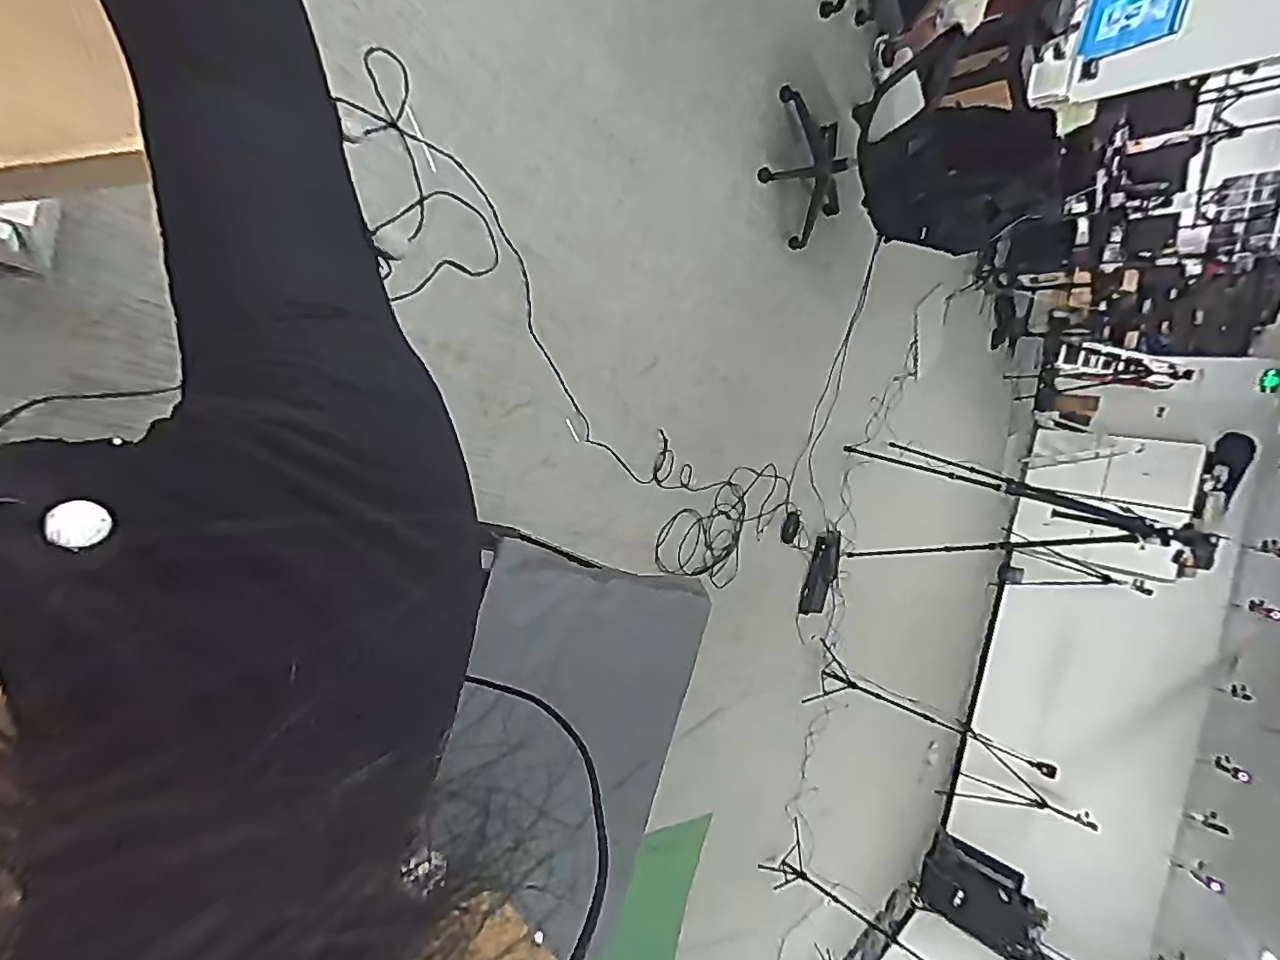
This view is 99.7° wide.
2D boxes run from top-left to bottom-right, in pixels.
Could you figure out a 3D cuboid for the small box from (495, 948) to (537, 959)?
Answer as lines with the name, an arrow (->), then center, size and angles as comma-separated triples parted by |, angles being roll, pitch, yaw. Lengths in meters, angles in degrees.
small box -> -0.151, 0.774, 0.701 | 0.179, 0.176, 0.168 | -51, 133, -27
